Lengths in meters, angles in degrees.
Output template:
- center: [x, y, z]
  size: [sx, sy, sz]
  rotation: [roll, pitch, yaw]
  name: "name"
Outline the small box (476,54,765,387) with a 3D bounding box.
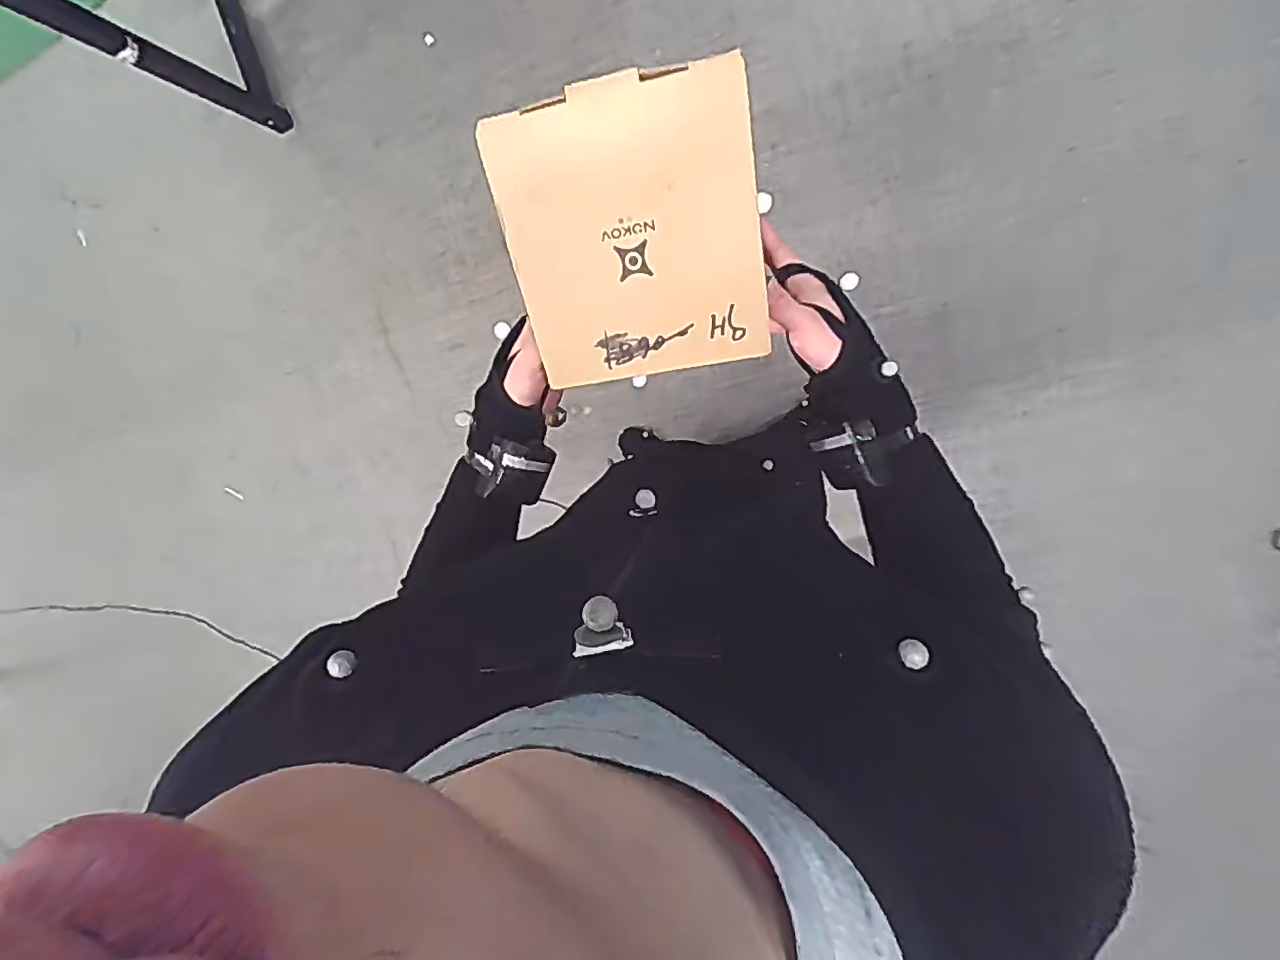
- center: [0.003, -0.191, 0.422]
  size: [0.168, 0.176, 0.179]
  rotation: [-6, 118, 13]
  name: "small box"
